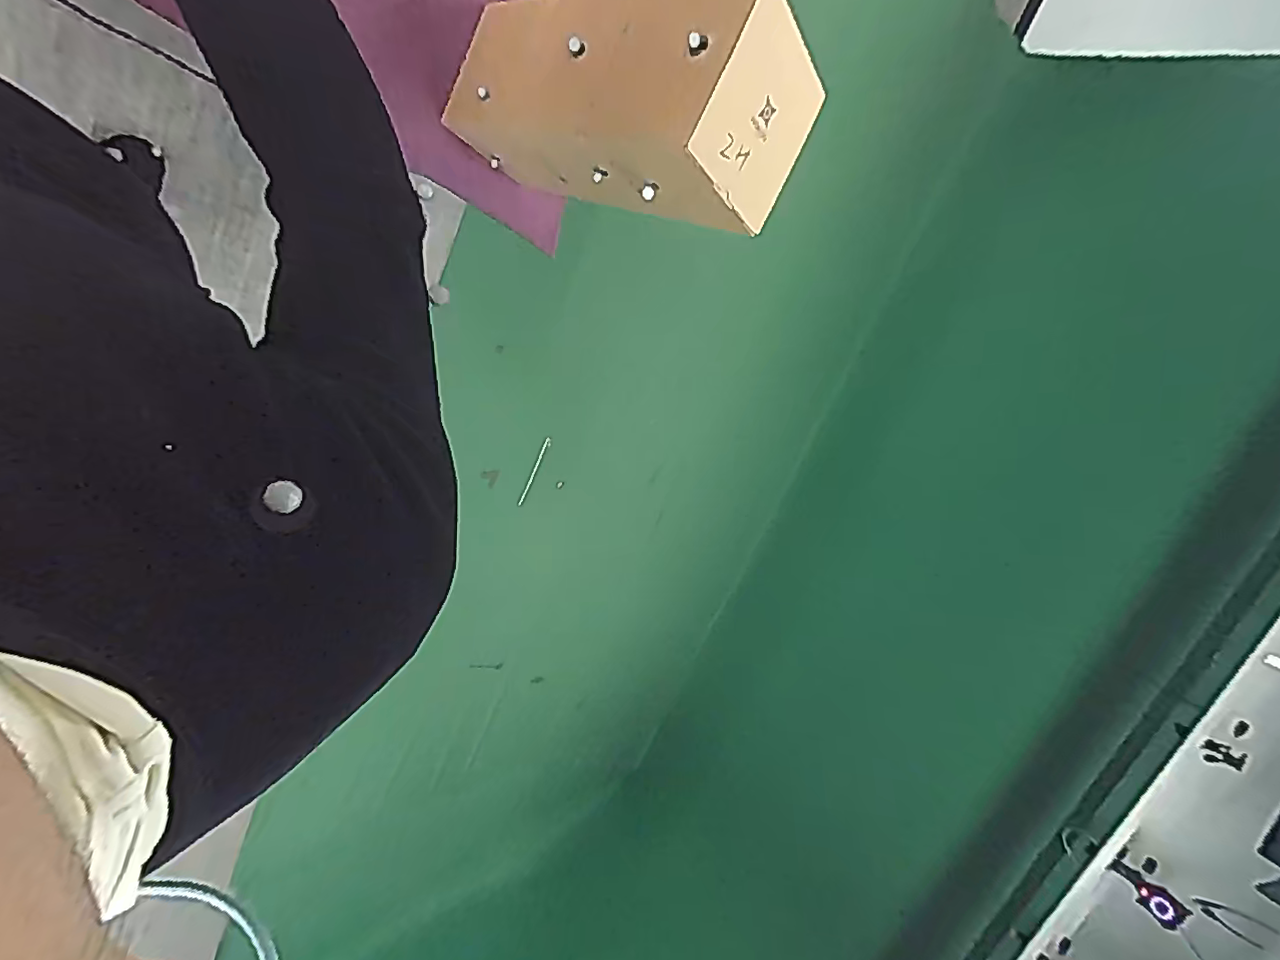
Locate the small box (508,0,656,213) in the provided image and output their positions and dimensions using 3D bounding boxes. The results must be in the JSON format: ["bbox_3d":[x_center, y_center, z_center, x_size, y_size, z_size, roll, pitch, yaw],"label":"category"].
[{"bbox_3d":[-0.043,-0.486,0.708,0.168,0.176,0.179,16,103,-53],"label":"small box"}]

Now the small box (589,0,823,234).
[{"bbox_3d":[0.071,-0.416,0.613,0.168,0.176,0.179,17,103,-53],"label":"small box"}]
